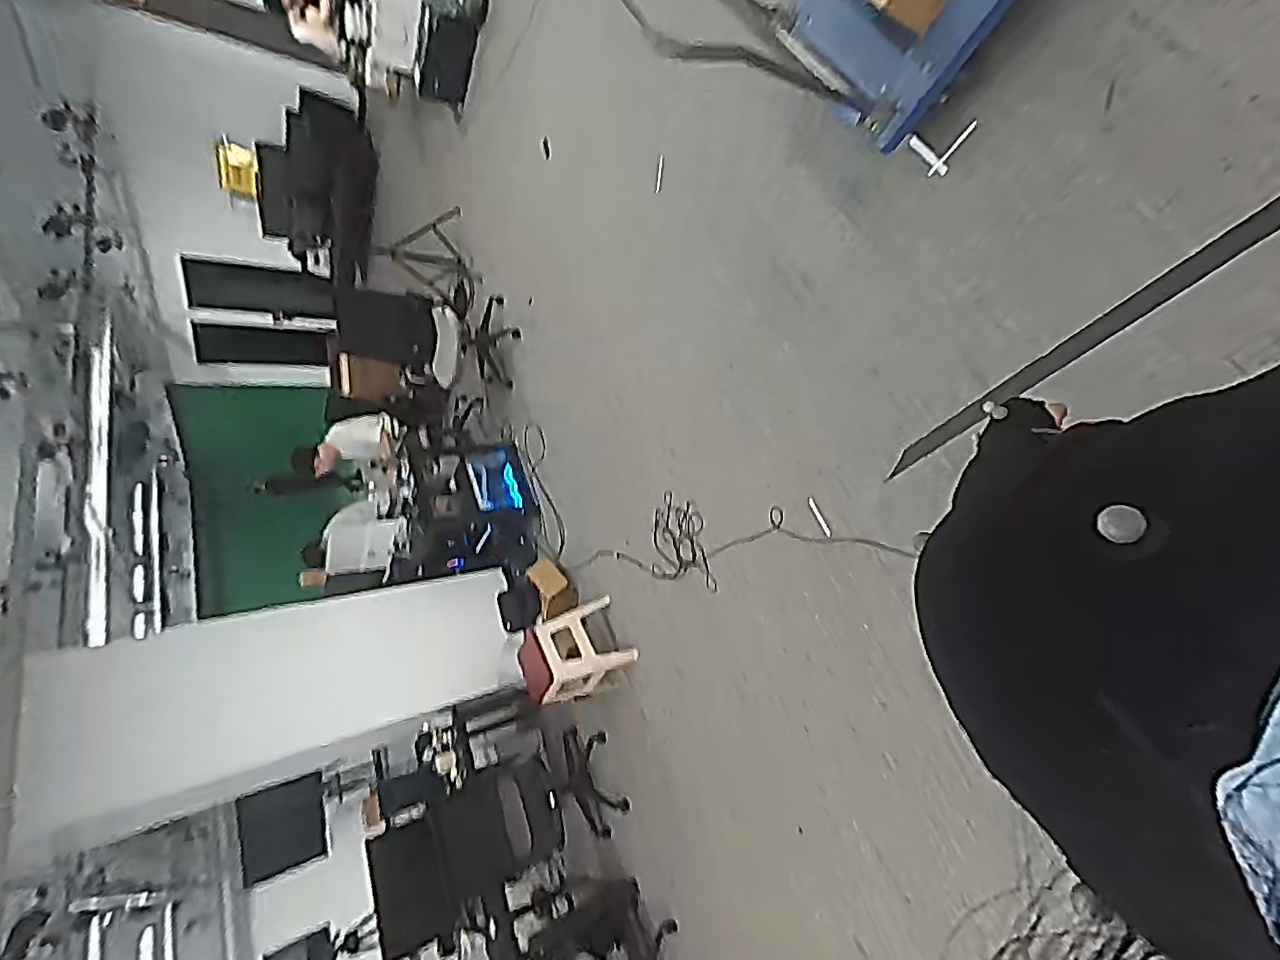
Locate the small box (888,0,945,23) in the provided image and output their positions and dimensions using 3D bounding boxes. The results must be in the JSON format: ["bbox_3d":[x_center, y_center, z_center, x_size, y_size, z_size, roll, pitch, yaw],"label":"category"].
[{"bbox_3d":[0.596,-1.150,1.177,0.168,0.176,0.179,-52,55,45],"label":"small box"}]
